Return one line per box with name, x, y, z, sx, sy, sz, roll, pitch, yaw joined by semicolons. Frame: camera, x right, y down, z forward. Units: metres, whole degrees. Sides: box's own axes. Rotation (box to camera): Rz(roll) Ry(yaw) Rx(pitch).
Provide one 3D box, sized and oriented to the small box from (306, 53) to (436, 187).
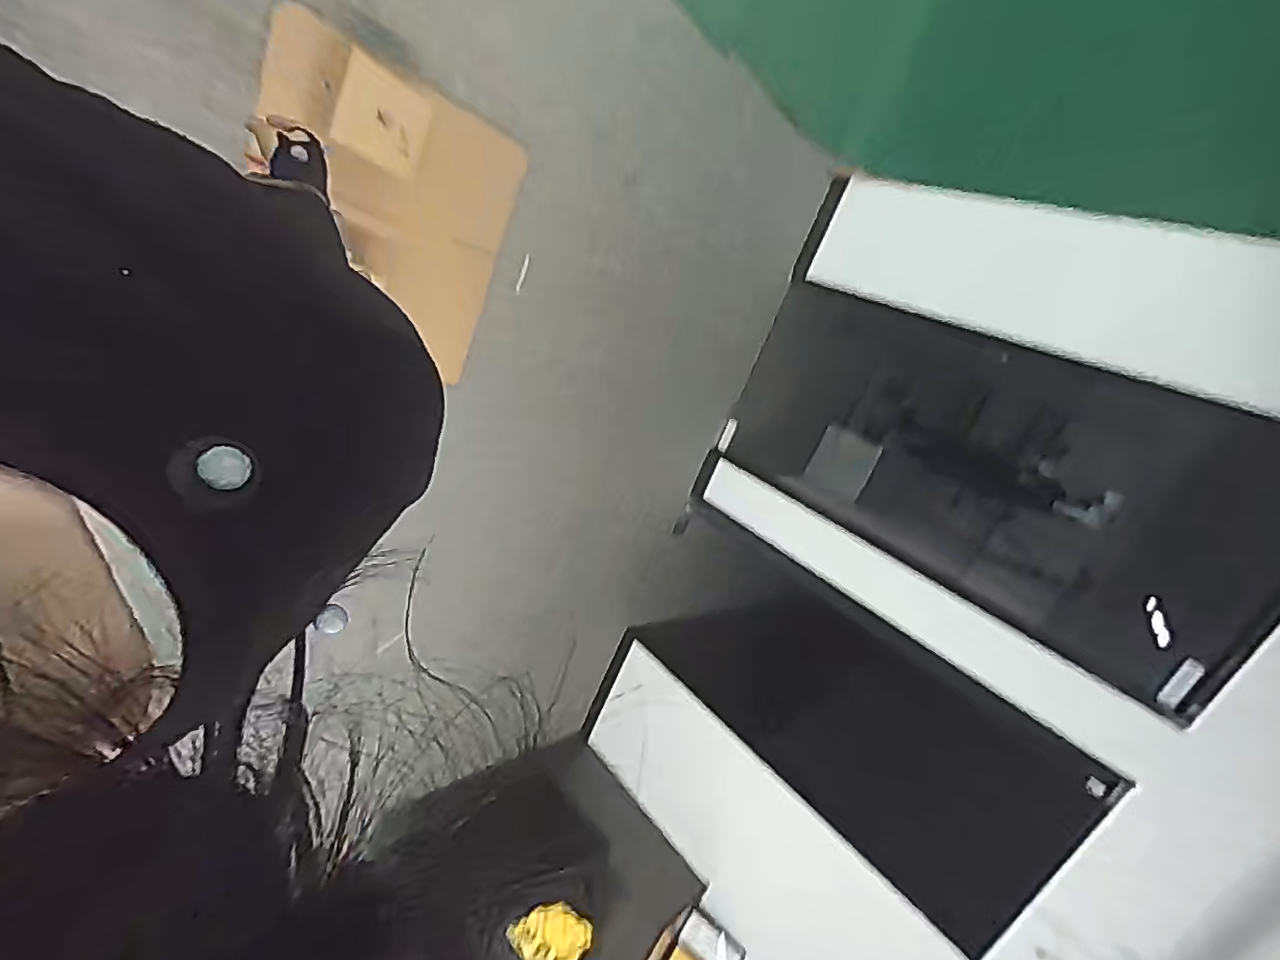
small box;-0.575;-0.759;1.148;0.179;0.176;0.168;13;109;-53
